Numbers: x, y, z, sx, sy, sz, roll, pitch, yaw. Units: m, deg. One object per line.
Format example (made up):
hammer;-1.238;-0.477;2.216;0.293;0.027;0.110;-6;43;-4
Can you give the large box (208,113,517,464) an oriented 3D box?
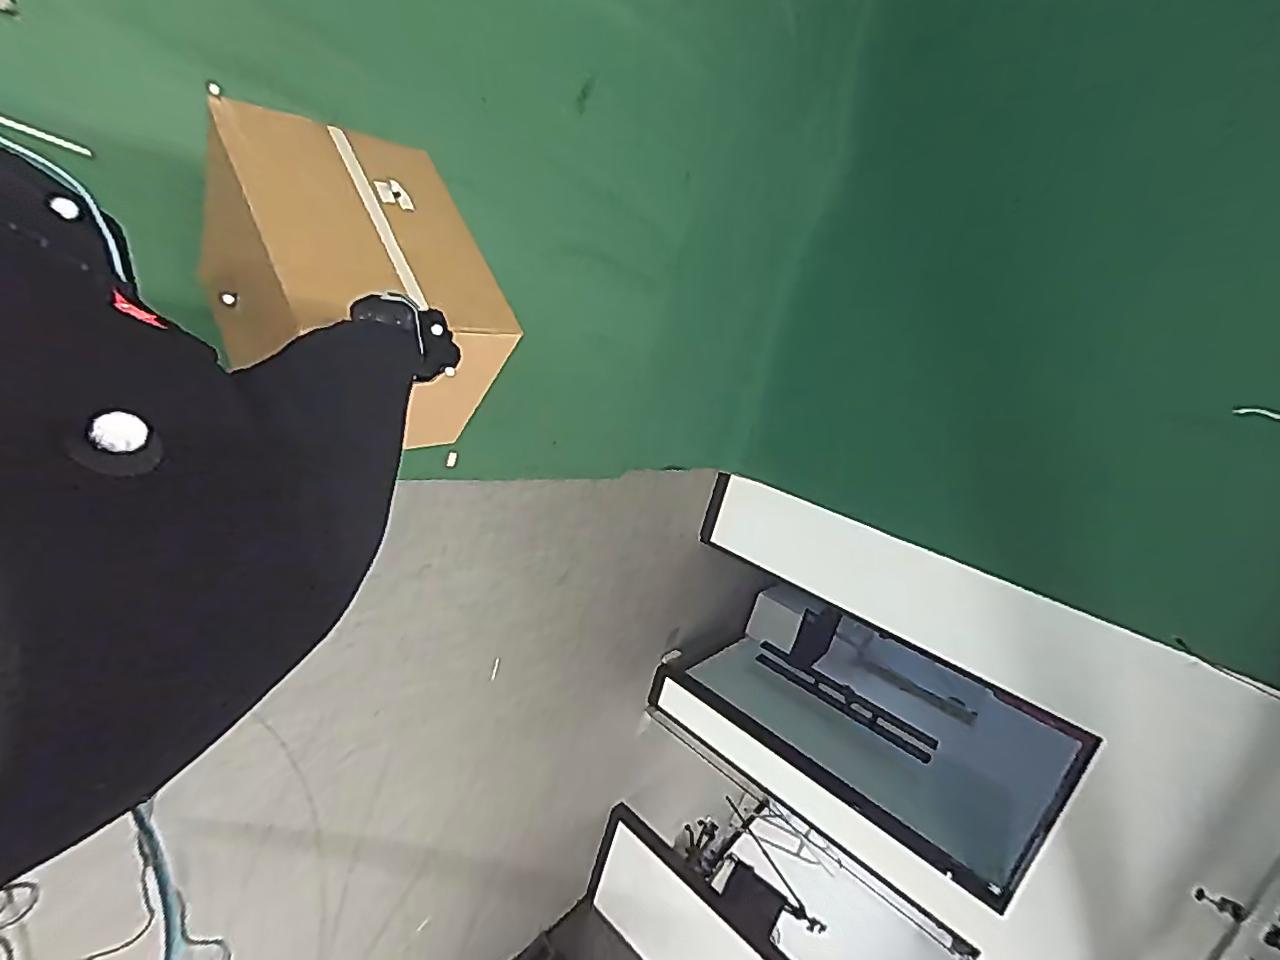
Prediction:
large box;-0.472;-0.289;0.897;0.320;0.408;0.320;-14;159;-46
